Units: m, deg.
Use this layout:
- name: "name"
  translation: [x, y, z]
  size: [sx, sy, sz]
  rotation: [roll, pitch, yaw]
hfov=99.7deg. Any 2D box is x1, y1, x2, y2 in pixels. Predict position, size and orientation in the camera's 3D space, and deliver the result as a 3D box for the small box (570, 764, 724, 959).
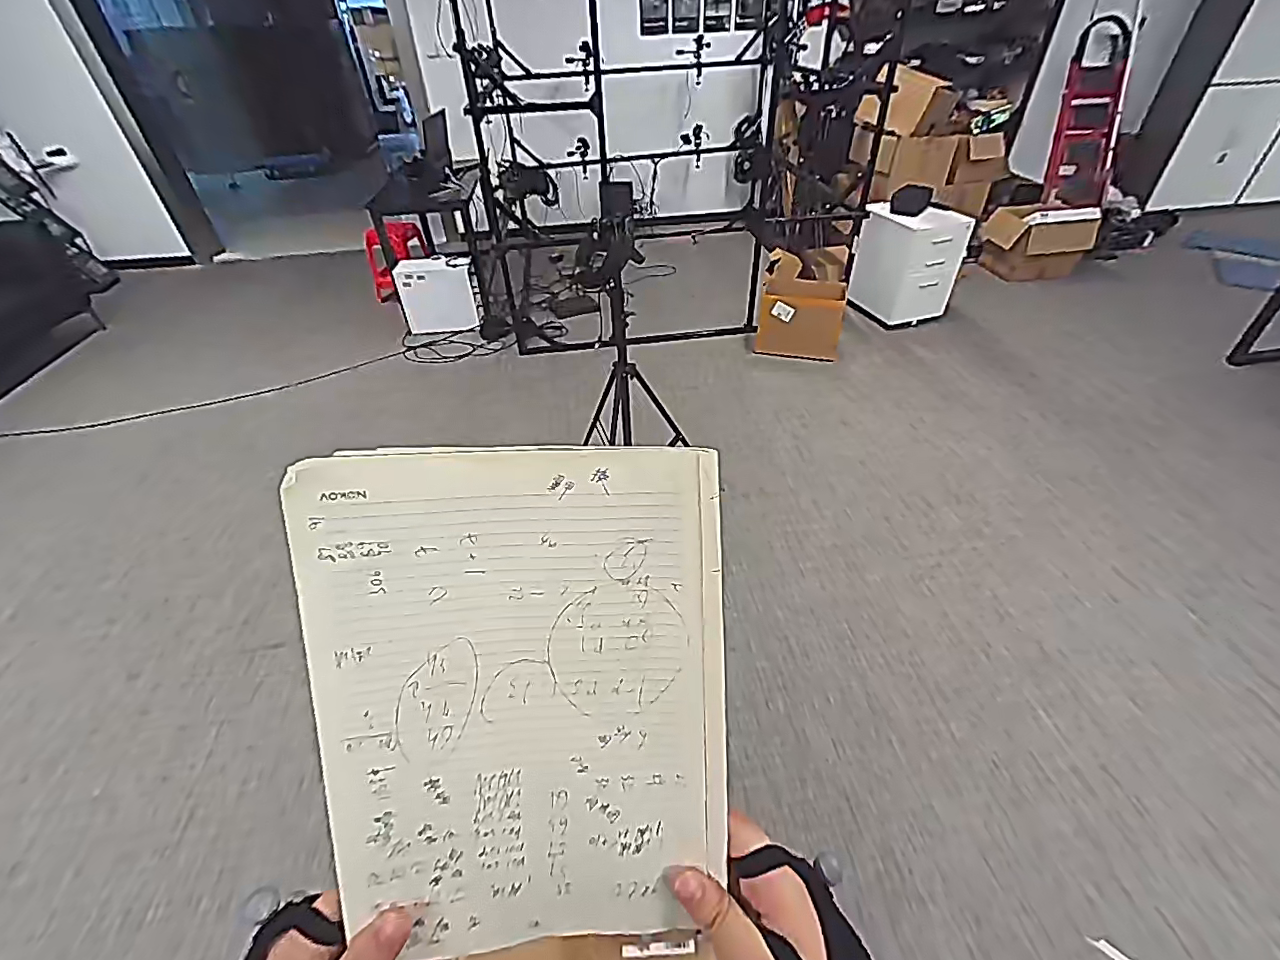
- name: "small box"
  translation: [0.005, 0.481, 0.677]
  size: [0.168, 0.176, 0.179]
  rotation: [0, 42, -1]
